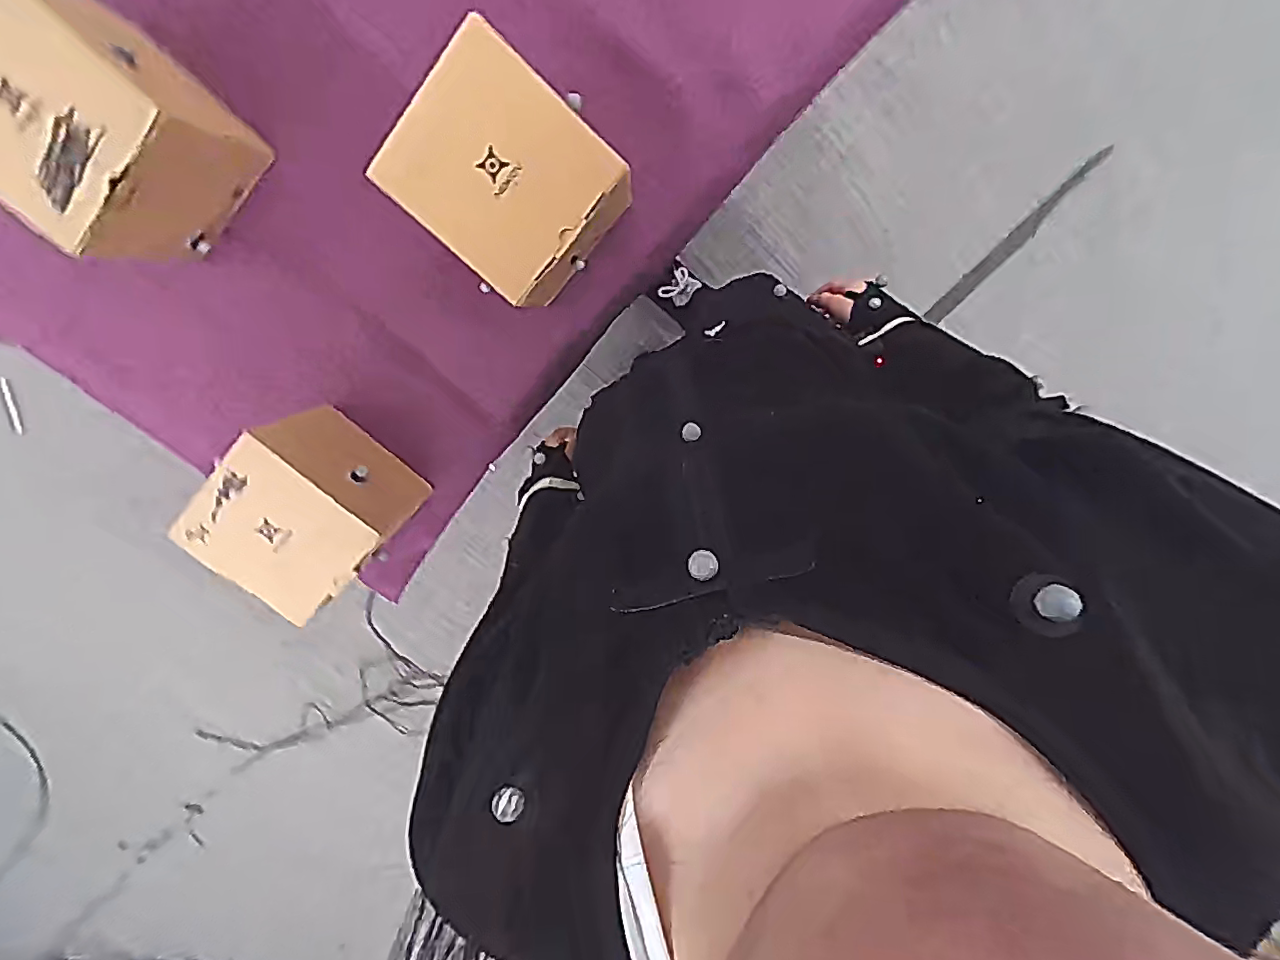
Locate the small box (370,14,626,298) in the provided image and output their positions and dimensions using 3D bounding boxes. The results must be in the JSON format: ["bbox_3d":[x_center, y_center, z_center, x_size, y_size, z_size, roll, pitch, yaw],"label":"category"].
[{"bbox_3d":[-0.131,-0.309,0.567,0.179,0.176,0.168,40,104,-13],"label":"small box"}]

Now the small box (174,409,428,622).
[{"bbox_3d":[-0.401,0.033,0.675,0.179,0.176,0.168,42,102,-14],"label":"small box"}]

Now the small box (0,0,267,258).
[{"bbox_3d":[-0.532,-0.347,0.540,0.179,0.176,0.168,43,103,-15],"label":"small box"}]
